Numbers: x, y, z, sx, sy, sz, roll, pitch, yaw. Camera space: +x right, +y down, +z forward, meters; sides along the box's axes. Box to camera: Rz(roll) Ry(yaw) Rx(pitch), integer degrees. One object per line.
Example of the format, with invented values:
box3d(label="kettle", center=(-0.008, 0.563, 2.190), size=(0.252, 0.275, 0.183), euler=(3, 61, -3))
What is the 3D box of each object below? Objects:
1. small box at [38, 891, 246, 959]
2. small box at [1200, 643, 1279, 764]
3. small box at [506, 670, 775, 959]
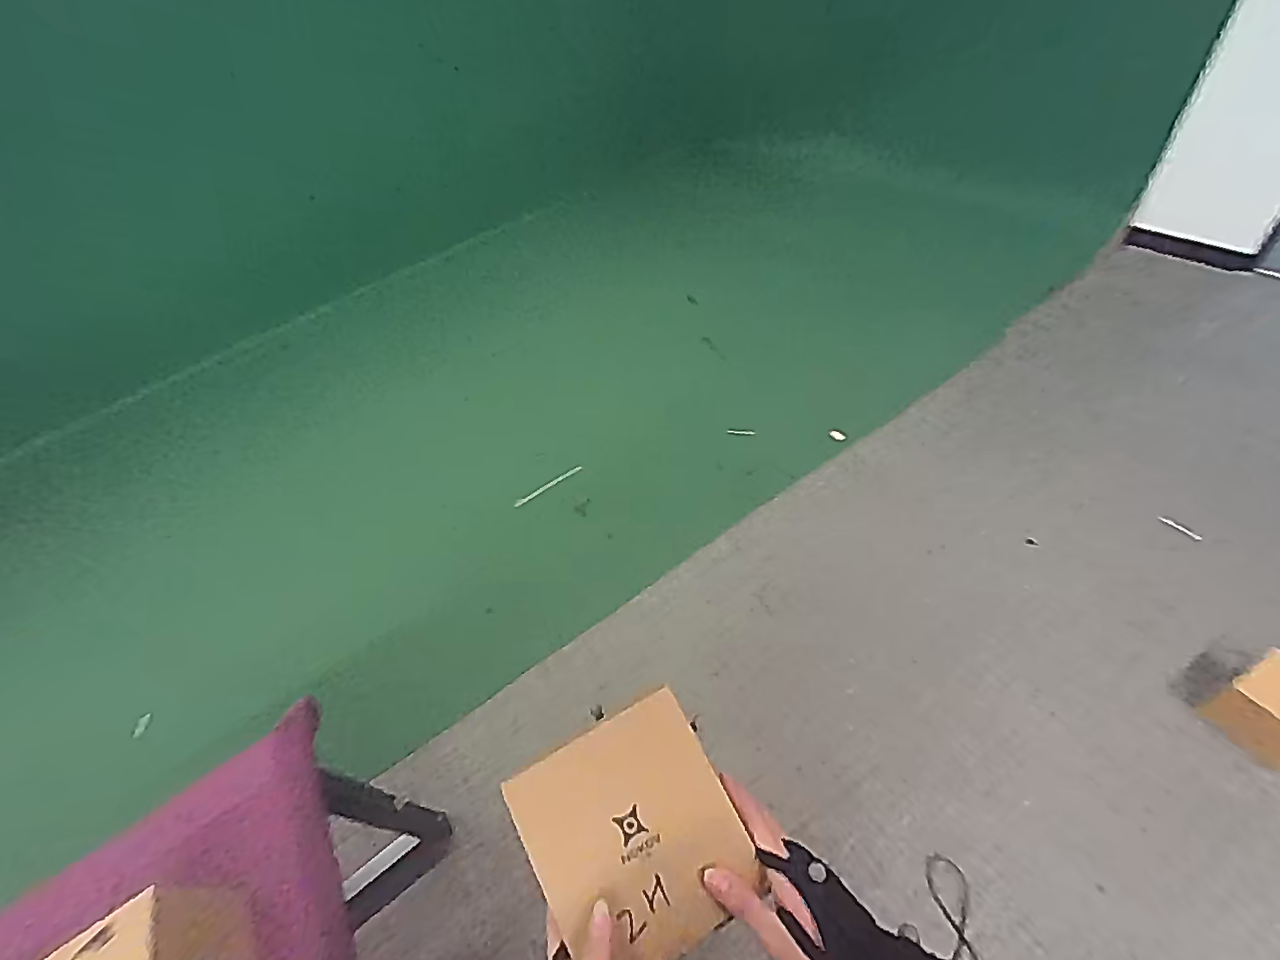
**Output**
box3d(label="small box", center=(-0.626, 0.654, 0.671), size=(0.168, 0.176, 0.179), euler=(-32, 51, -13))
box3d(label="small box", center=(1.462, 0.514, 1.233), size=(0.168, 0.176, 0.179), euler=(-31, 51, -12))
box3d(label="small box", center=(-0.002, 0.298, 0.511), size=(0.168, 0.176, 0.179), euler=(-27, 74, -6))
